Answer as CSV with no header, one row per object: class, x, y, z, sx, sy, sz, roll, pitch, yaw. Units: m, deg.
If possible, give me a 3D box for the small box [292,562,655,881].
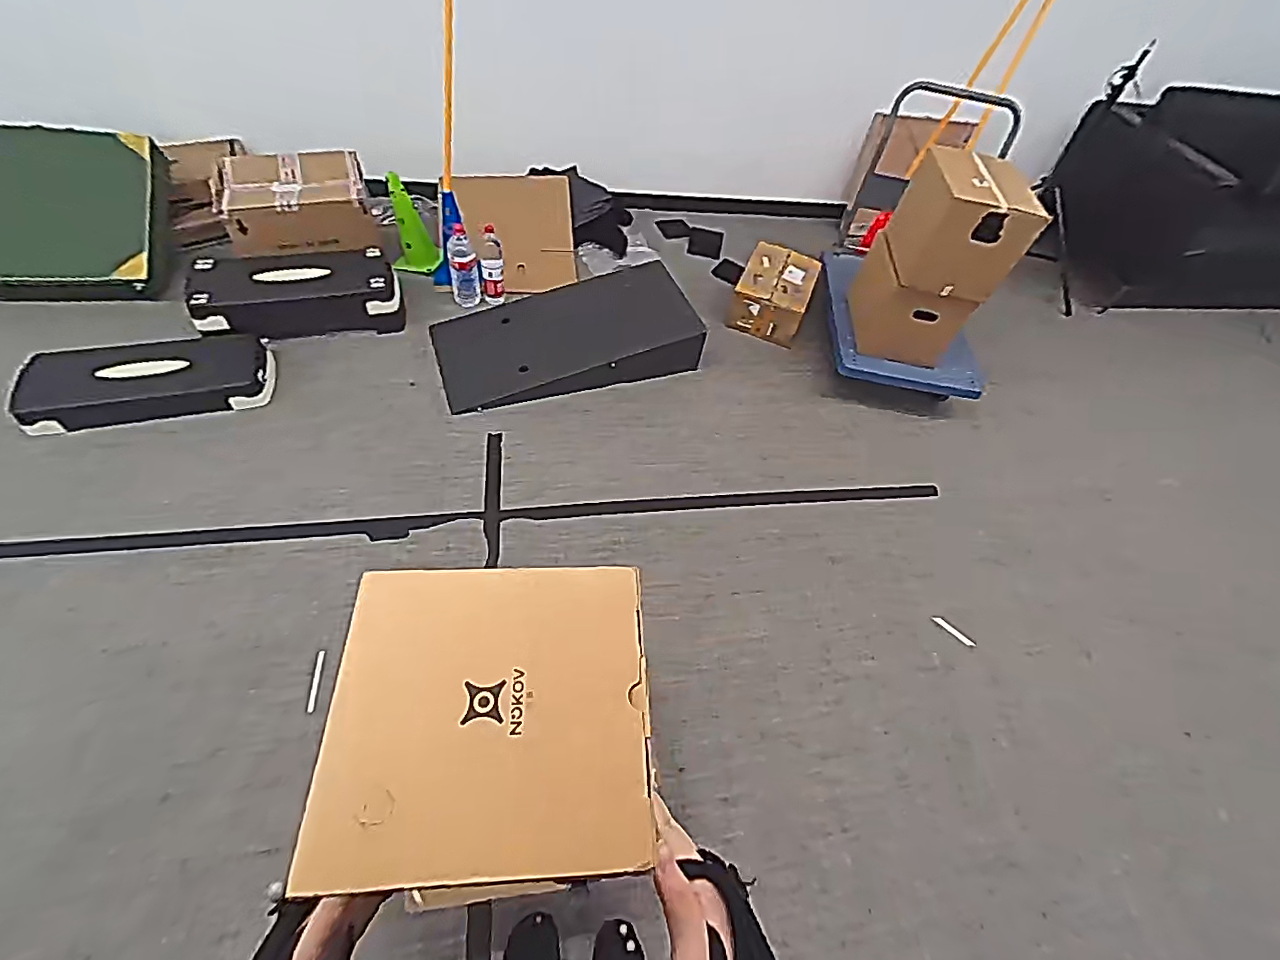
small box,-0.088,0.168,0.370,0.179,0.176,0.168,0,55,-6
